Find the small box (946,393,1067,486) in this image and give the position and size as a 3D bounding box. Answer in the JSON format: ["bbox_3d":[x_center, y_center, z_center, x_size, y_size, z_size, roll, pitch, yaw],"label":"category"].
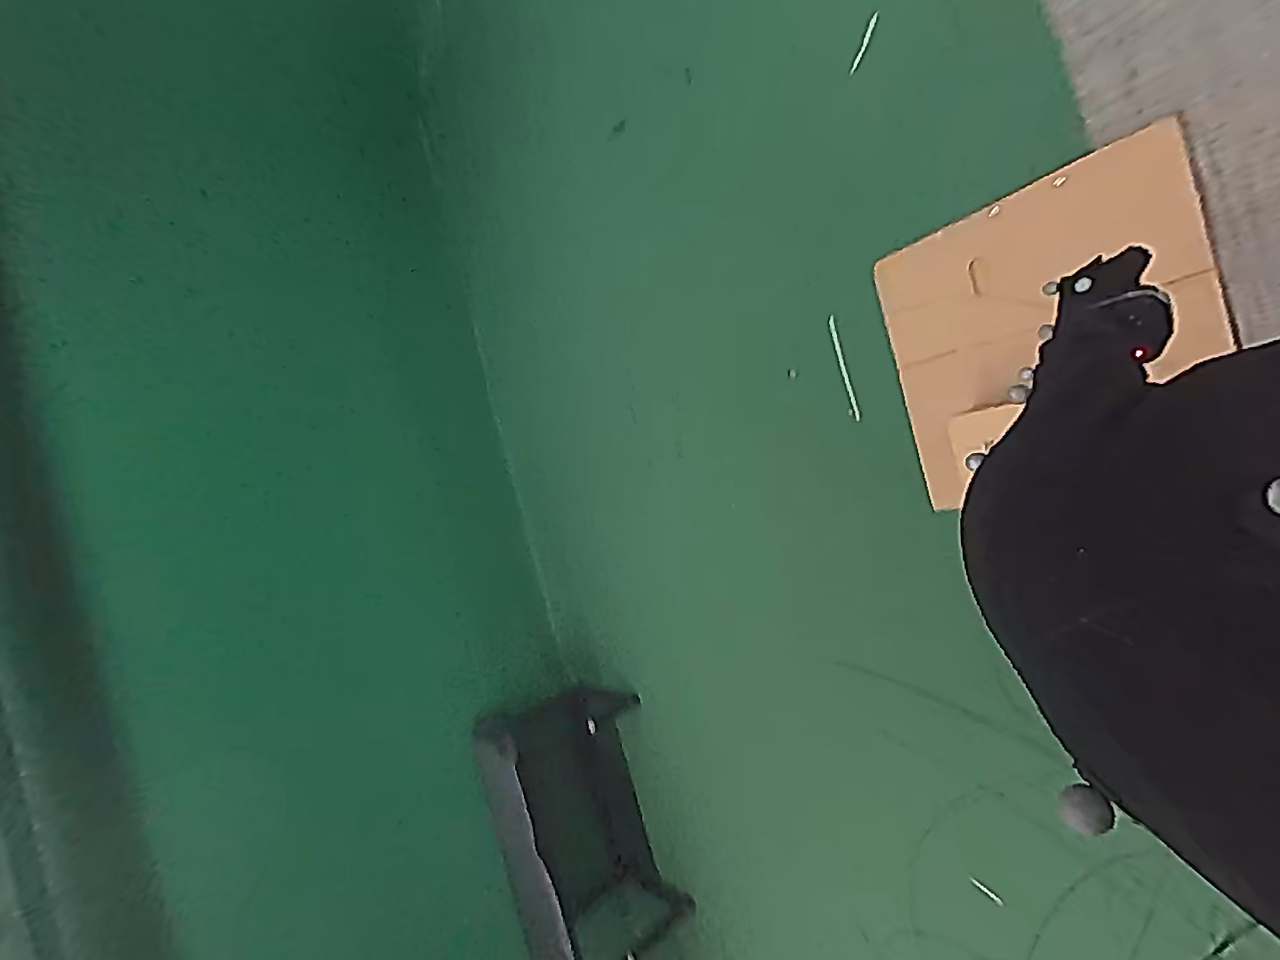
[{"bbox_3d":[0.840,-0.093,1.231,0.179,0.176,0.168,-13,92,54],"label":"small box"}]
